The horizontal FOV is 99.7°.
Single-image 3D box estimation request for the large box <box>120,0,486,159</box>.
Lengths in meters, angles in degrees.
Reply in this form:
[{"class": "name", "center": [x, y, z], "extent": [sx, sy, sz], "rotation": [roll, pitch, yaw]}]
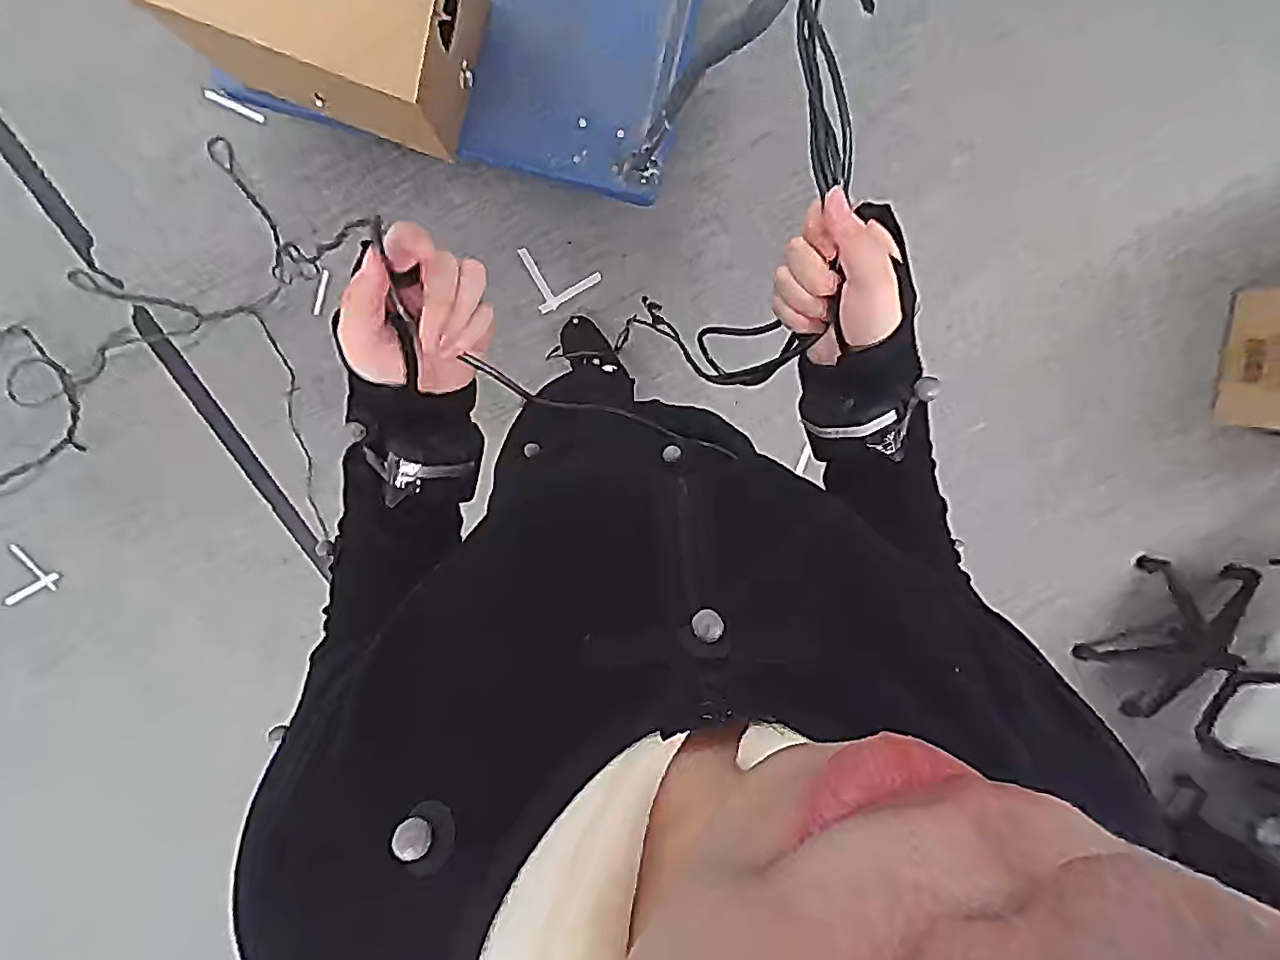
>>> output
[{"class": "large box", "center": [-0.494, -0.784, 0.872], "extent": [0.408, 0.320, 0.320], "rotation": [15, 102, -11]}]
